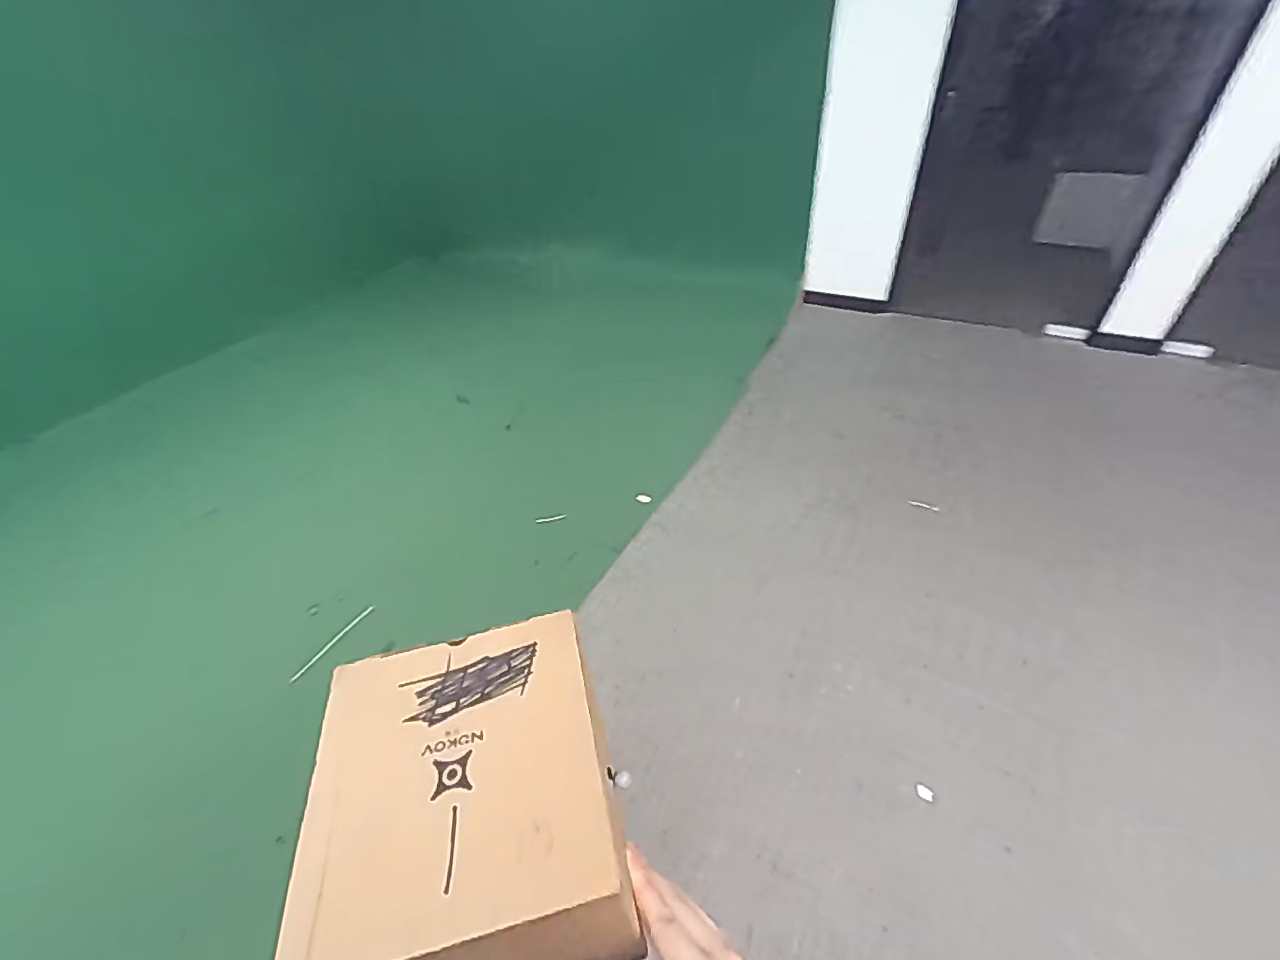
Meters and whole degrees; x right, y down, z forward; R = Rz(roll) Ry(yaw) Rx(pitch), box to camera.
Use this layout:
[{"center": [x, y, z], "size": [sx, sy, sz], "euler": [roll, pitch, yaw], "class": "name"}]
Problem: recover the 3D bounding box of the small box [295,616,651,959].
[{"center": [-0.092, 0.227, 0.368], "size": [0.168, 0.176, 0.179], "euler": [-12, 41, -7], "class": "small box"}]
